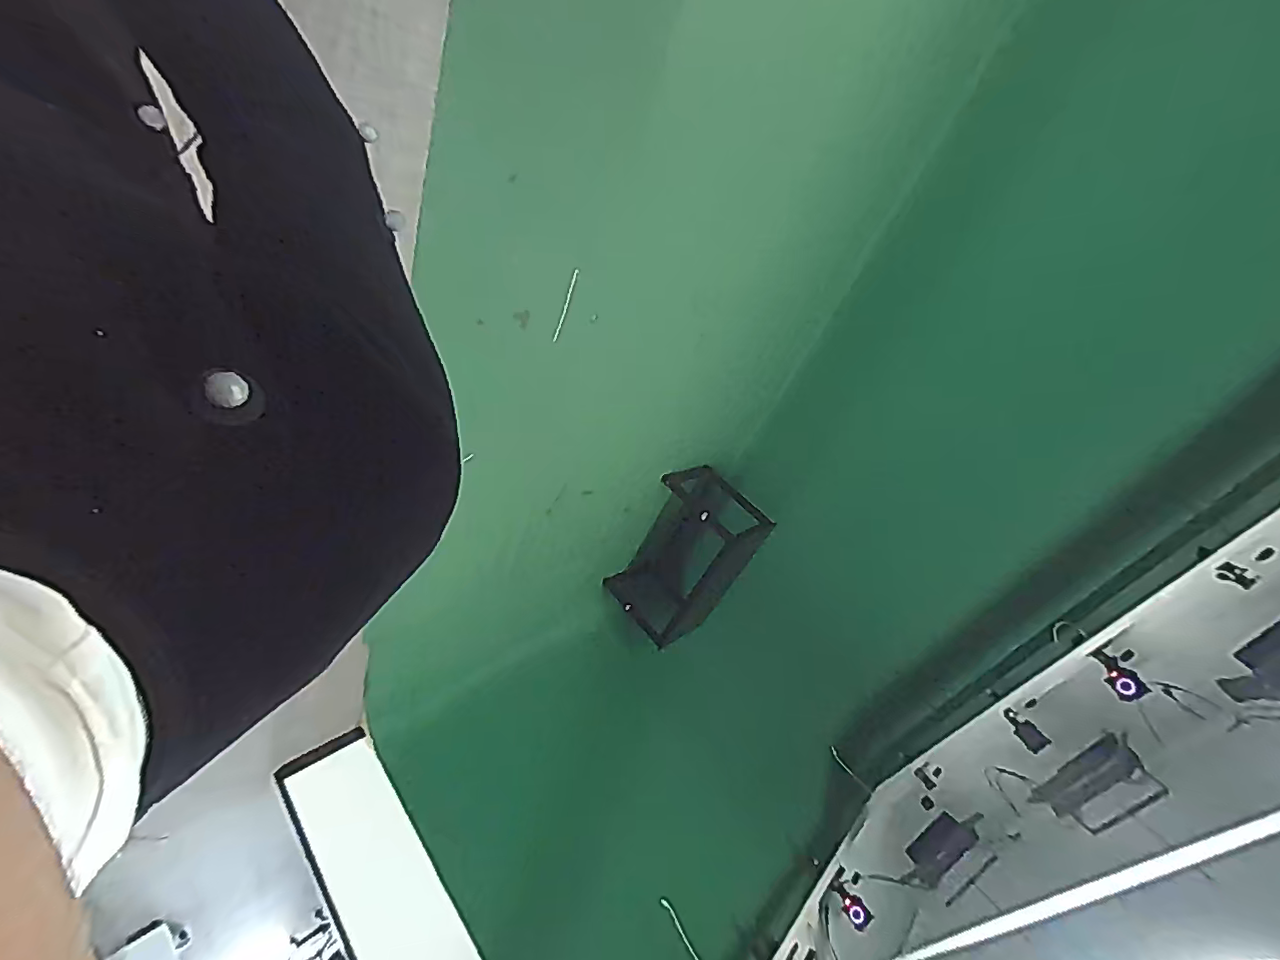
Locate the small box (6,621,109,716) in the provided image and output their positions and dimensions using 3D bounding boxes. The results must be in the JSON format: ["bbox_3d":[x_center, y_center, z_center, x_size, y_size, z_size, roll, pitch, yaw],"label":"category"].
[{"bbox_3d":[-1.744,0.559,1.618,0.179,0.176,0.168,-20,145,-42],"label":"small box"}]
